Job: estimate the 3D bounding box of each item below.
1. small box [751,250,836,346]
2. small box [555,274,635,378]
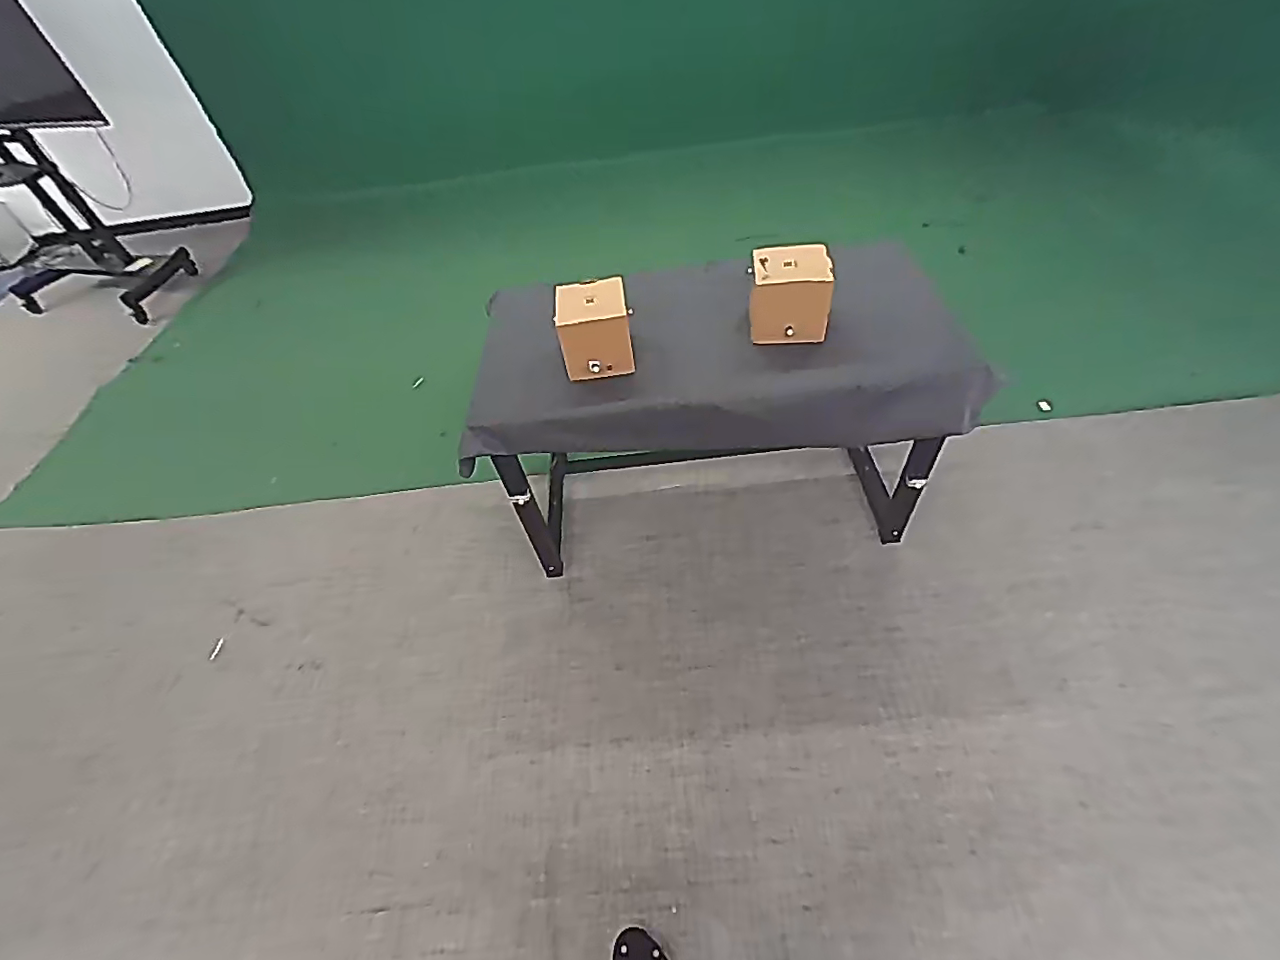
[{"bbox_3d":[0.372,-0.448,1.340,0.179,0.176,0.168,1,50,8],"label":"small box"},{"bbox_3d":[-0.105,-0.375,1.322,0.168,0.176,0.179,-8,49,4],"label":"small box"}]
